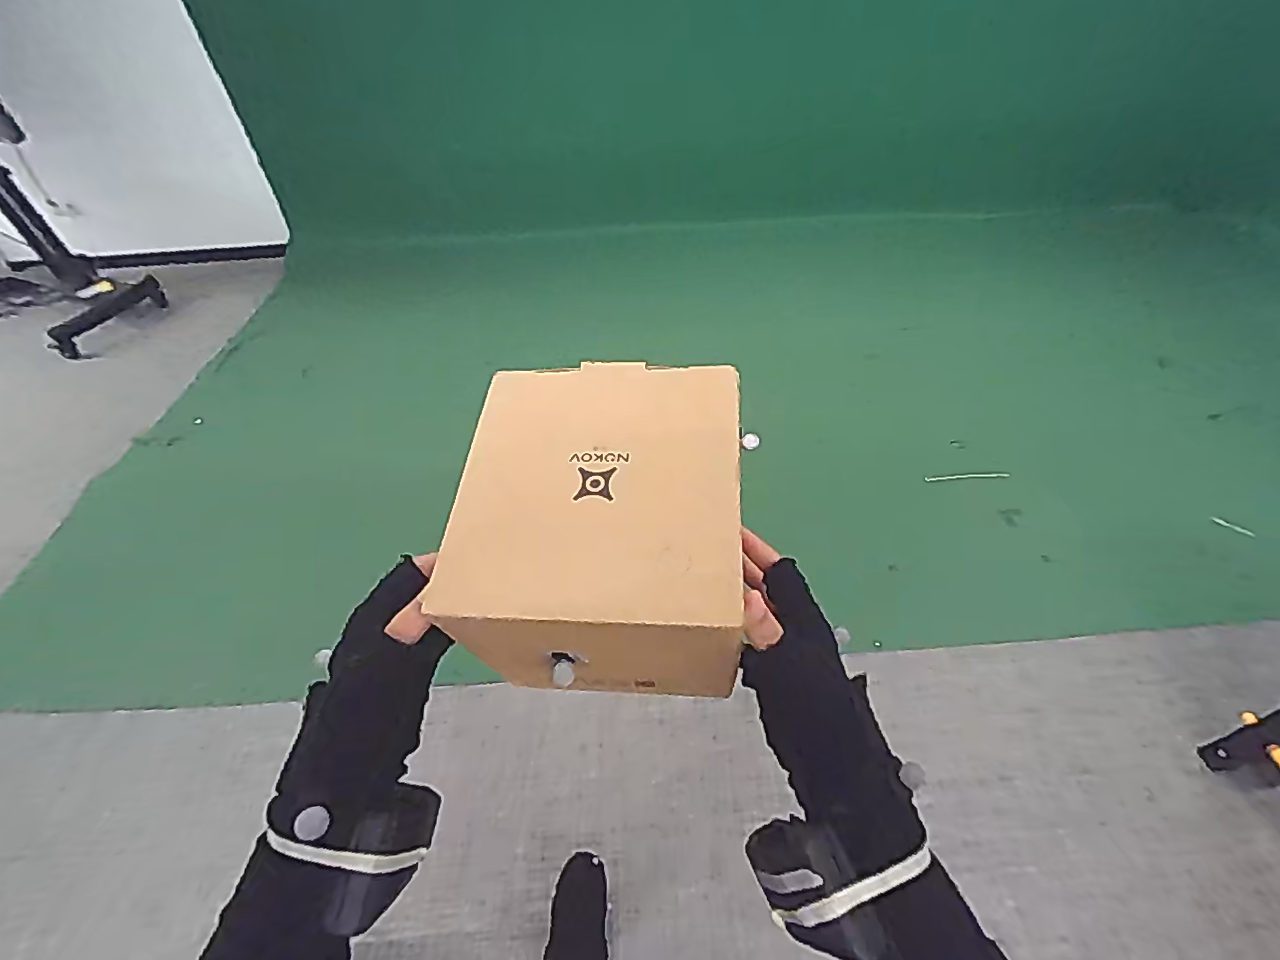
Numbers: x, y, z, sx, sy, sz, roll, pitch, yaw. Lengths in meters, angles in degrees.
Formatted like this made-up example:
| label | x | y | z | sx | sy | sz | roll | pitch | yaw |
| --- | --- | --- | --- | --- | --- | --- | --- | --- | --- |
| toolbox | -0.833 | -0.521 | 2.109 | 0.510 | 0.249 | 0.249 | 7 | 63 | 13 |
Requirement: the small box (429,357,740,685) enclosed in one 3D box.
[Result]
| label | x | y | z | sx | sy | sz | roll | pitch | yaw |
| --- | --- | --- | --- | --- | --- | --- | --- | --- | --- |
| small box | -0.015 | 0.036 | 0.381 | 0.168 | 0.176 | 0.179 | 1 | 57 | 7 |
